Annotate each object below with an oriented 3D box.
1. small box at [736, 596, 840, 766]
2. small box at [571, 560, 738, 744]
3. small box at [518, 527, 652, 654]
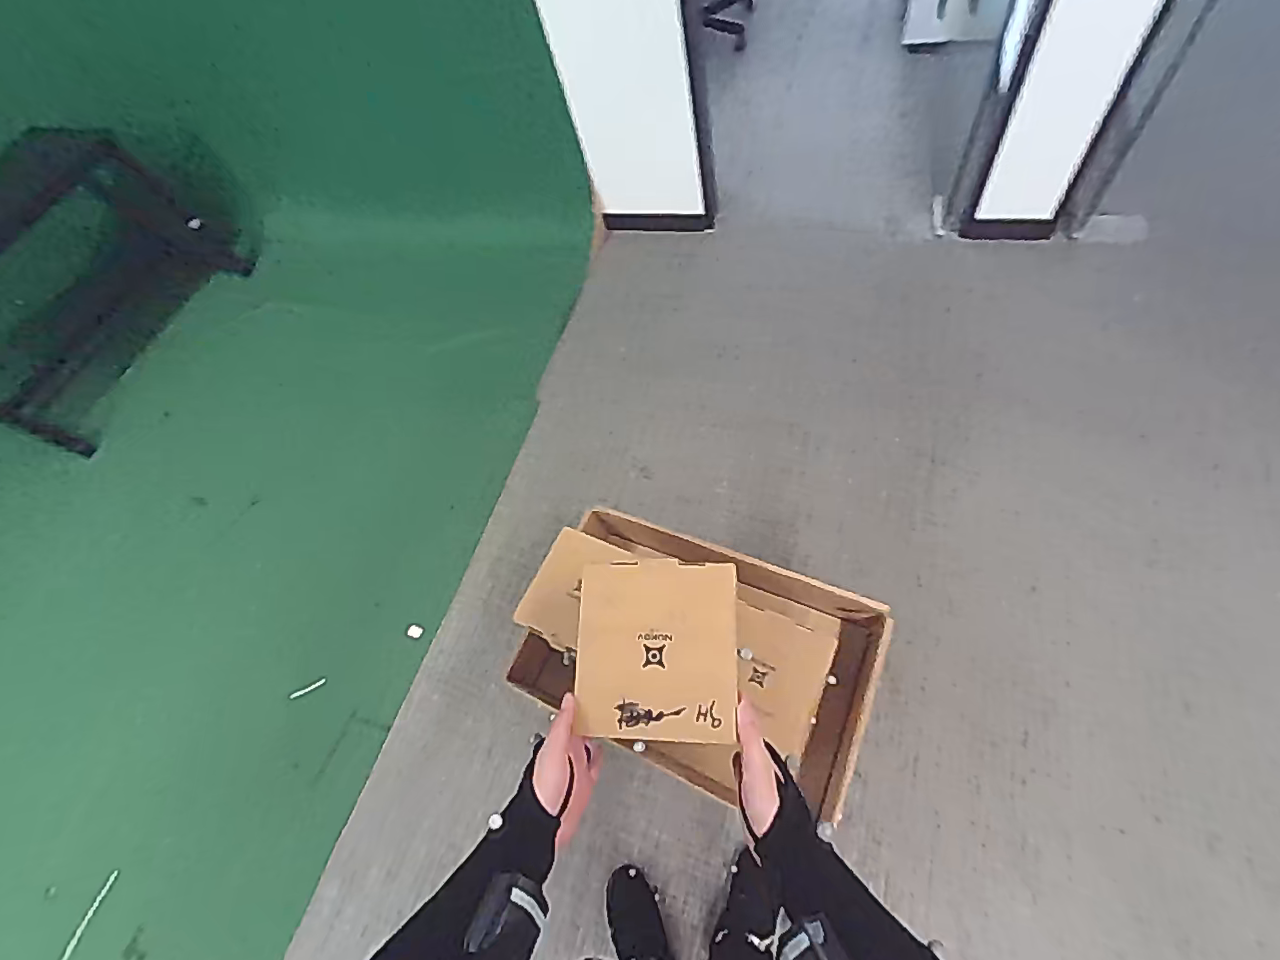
[{"bbox_3d":[0.184,0.303,0.814,0.168,0.176,0.179,19,70,23],"label":"small box"},{"bbox_3d":[0.027,0.197,0.626,0.168,0.176,0.179,-1,70,9],"label":"small box"},{"bbox_3d":[-0.073,0.211,0.927,0.168,0.176,0.179,20,69,22],"label":"small box"}]
